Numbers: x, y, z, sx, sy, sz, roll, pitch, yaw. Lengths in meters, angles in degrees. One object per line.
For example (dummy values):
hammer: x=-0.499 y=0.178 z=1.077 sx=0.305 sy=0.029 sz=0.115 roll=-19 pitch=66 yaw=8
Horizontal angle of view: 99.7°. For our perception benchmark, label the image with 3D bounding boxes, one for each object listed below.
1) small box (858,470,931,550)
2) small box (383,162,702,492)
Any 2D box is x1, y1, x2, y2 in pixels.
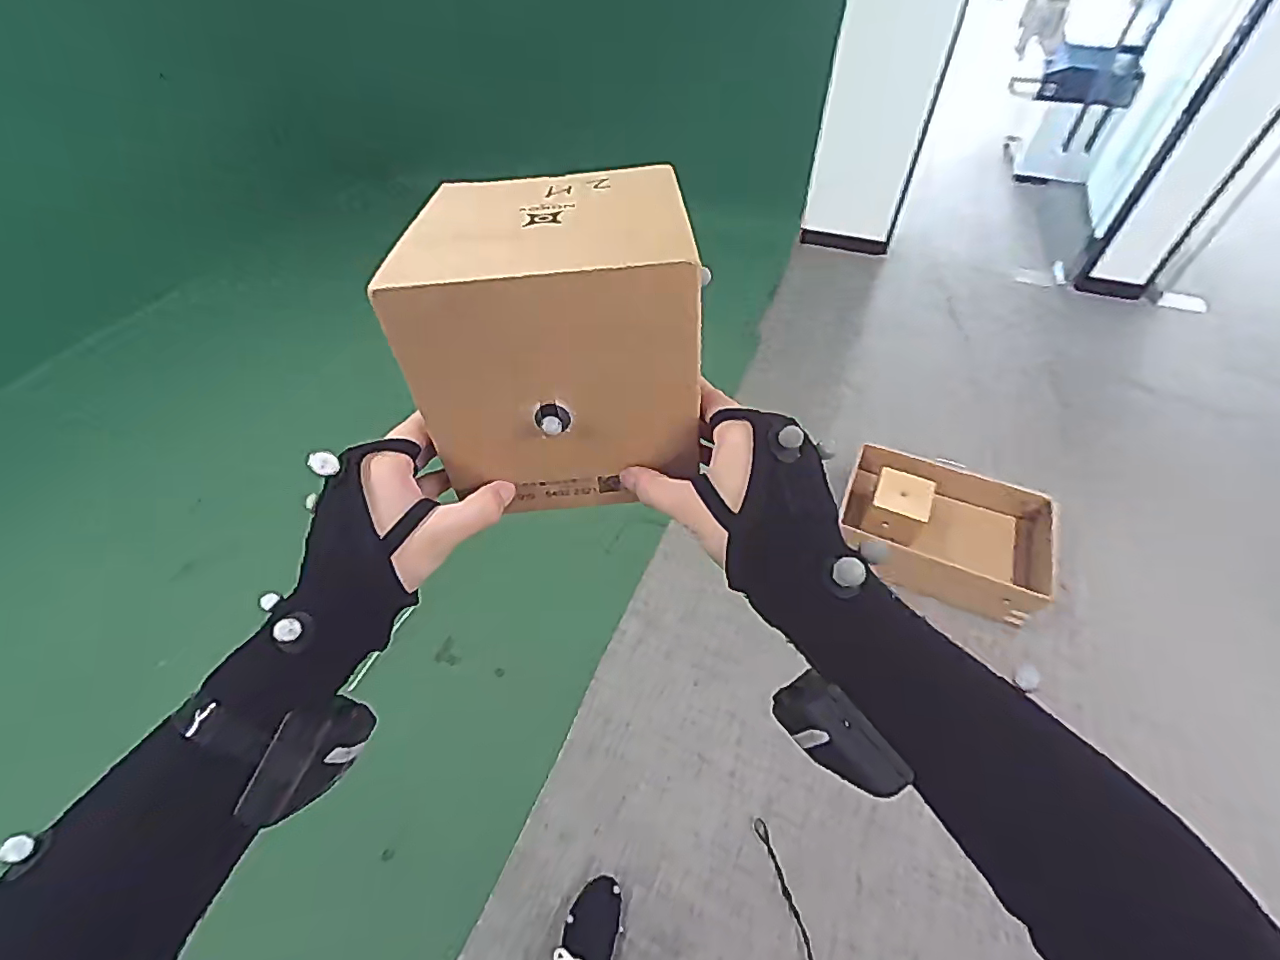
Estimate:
small box: x=0.835 y=0.104 z=1.787 sx=0.168 sy=0.176 sz=0.179 roll=20 pitch=54 yaw=17
small box: x=-0.045 y=-0.103 z=0.382 sx=0.168 sy=0.176 sz=0.179 roll=-3 pitch=43 yaw=1
